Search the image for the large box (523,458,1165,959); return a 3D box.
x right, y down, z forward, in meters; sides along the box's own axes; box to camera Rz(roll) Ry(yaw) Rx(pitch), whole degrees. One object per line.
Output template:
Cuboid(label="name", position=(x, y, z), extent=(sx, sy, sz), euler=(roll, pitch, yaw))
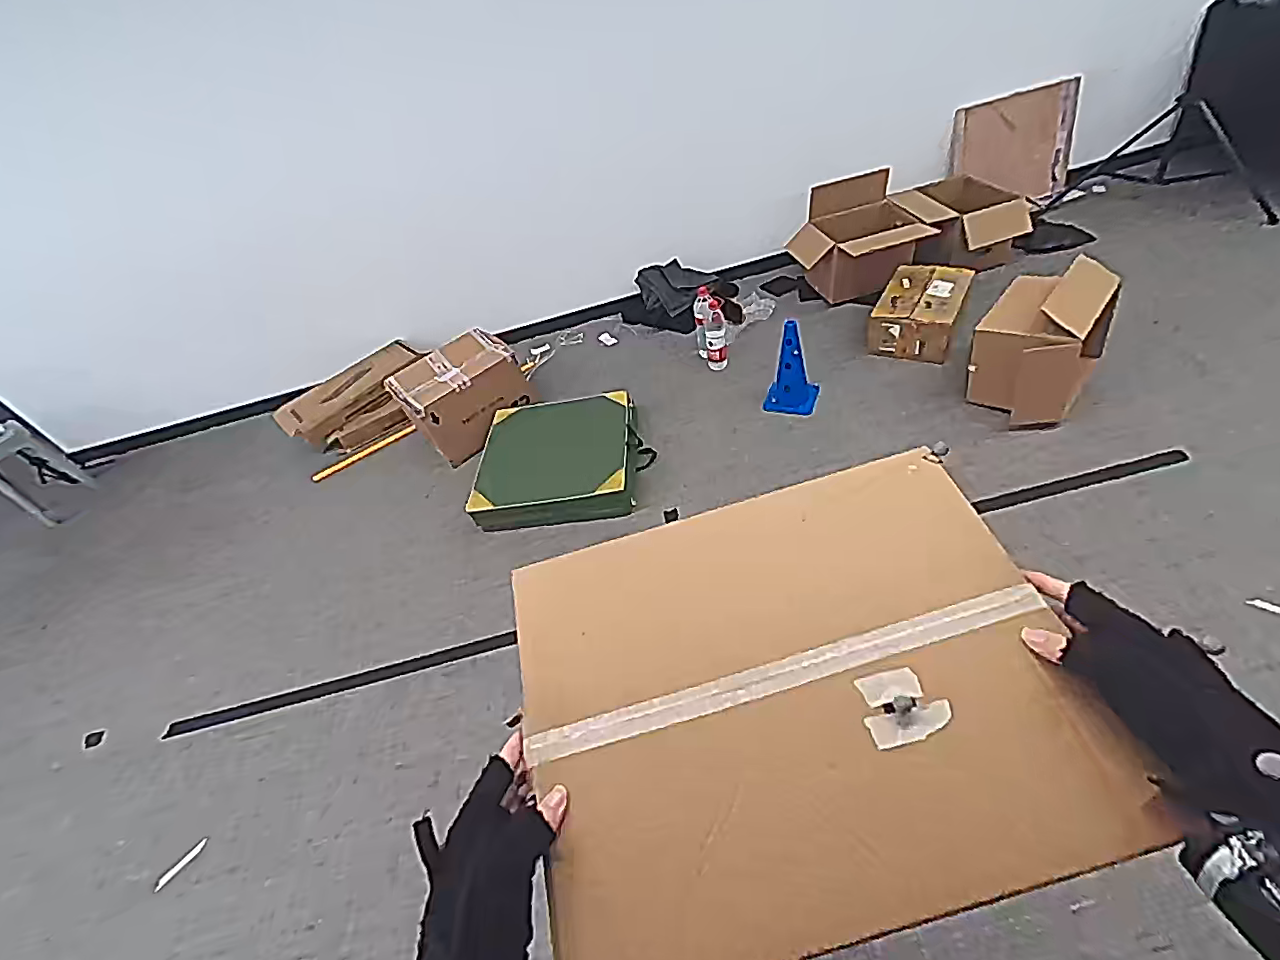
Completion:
Cuboid(label="large box", position=(0.137, 0.239, 0.549), extent=(0.408, 0.320, 0.320), euler=(-17, 55, 0))
